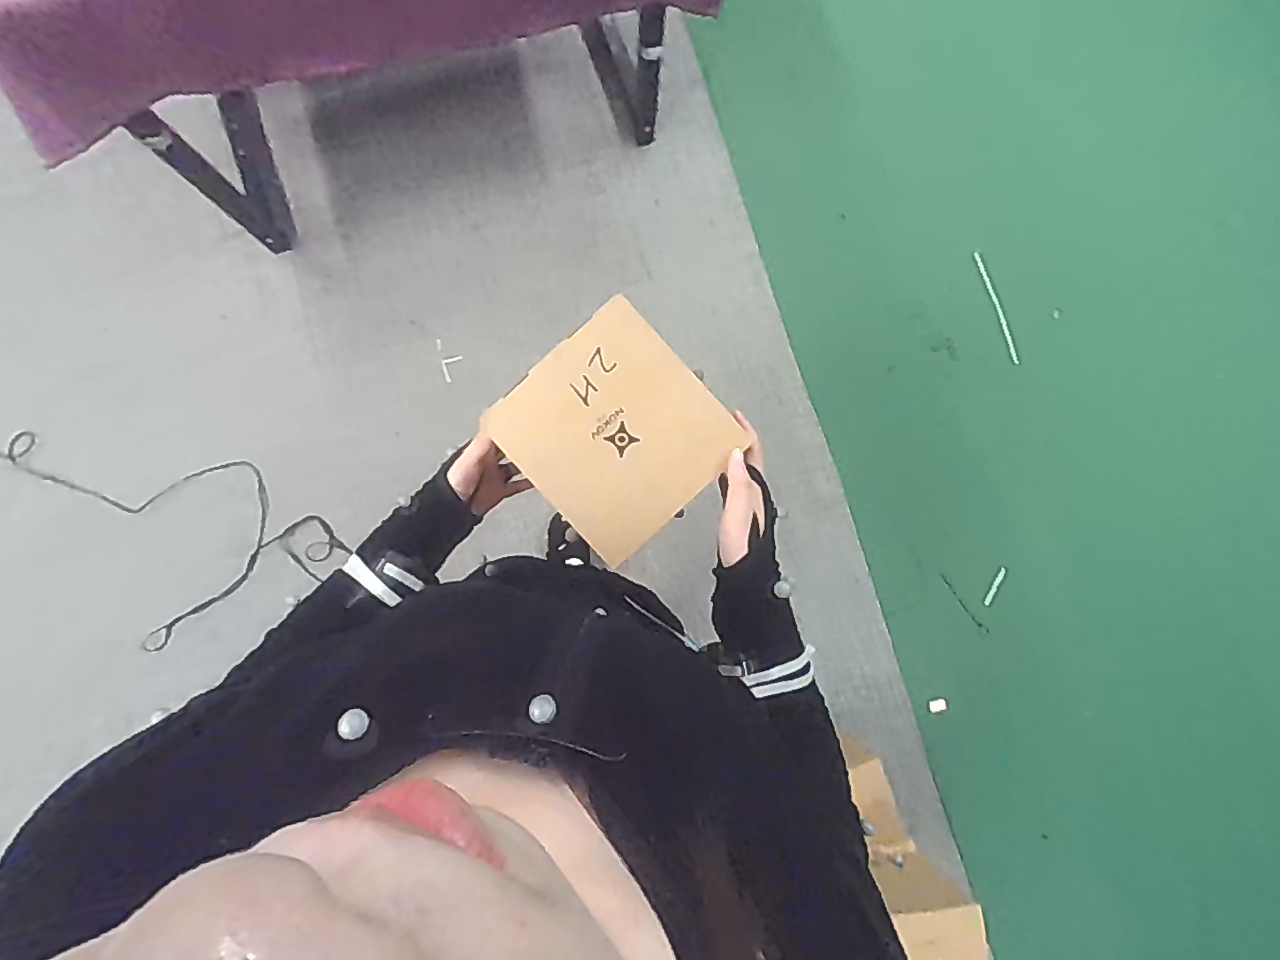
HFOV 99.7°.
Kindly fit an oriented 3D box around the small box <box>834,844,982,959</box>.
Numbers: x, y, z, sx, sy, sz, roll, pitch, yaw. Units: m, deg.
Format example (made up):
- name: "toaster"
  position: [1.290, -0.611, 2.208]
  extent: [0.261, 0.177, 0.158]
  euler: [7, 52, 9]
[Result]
- name: "small box"
  position: [0.449, 0.763, 0.922]
  extent: [0.168, 0.176, 0.179]
  euler: [-3, 83, -5]
